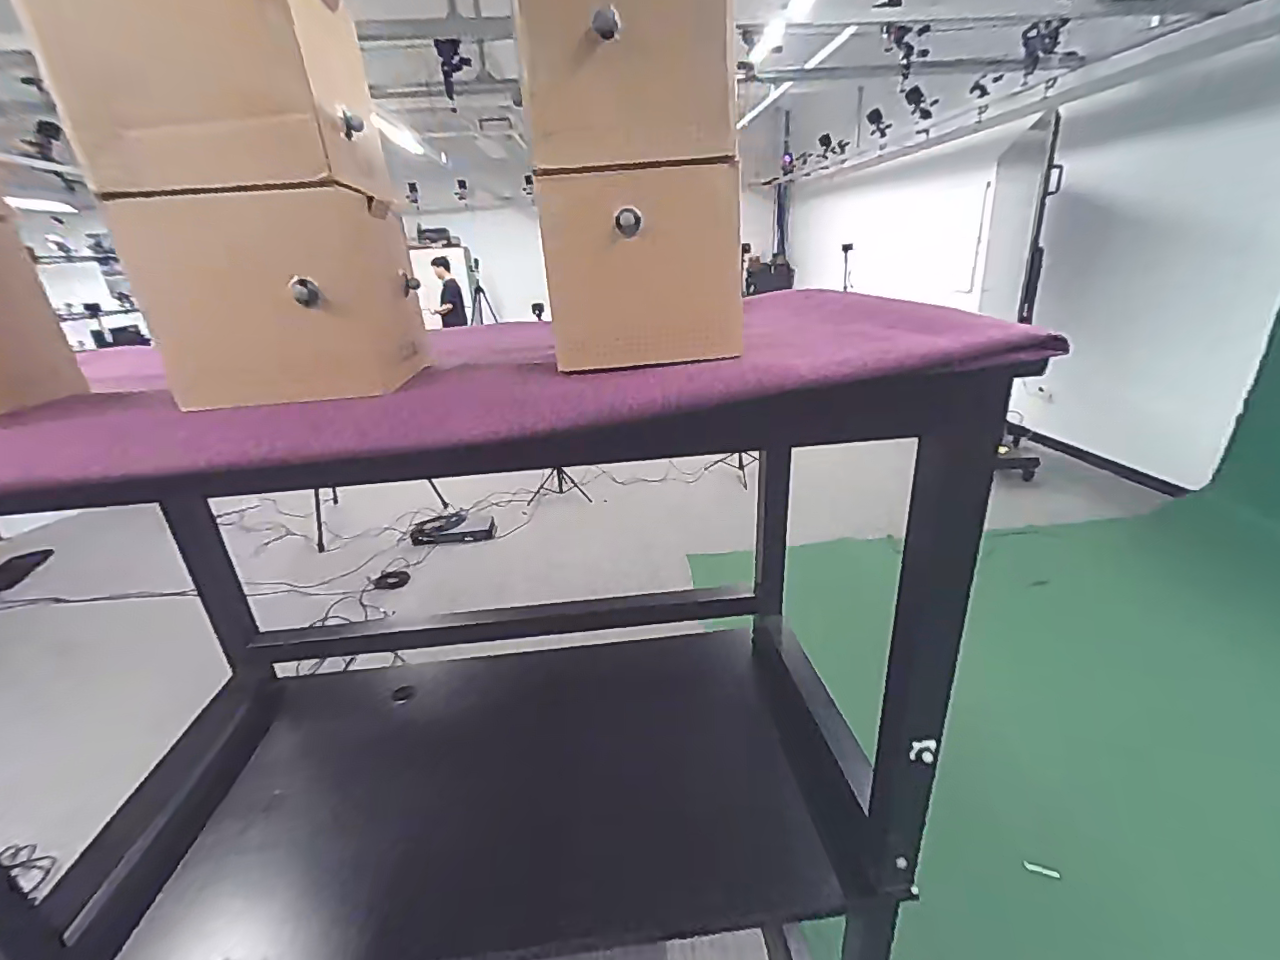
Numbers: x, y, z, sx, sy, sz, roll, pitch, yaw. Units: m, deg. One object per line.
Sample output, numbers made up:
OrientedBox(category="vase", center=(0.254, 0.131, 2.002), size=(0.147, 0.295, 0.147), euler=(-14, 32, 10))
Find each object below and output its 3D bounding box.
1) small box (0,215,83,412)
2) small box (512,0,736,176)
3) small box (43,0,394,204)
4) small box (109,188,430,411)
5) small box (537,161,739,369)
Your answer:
OrientedBox(category="small box", center=(-0.654, -0.133, 0.462), size=(0.168, 0.176, 0.179), euler=(-5, 23, -6))
OrientedBox(category="small box", center=(-0.014, -0.366, 0.504), size=(0.179, 0.176, 0.168), euler=(-6, 20, -1))
OrientedBox(category="small box", center=(-0.333, -0.322, 0.455), size=(0.179, 0.176, 0.168), euler=(-6, 22, -6))
OrientedBox(category="small box", center=(-0.317, -0.171, 0.515), size=(0.179, 0.176, 0.168), euler=(-6, 22, -4))
OrientedBox(category="small box", center=(0.000, -0.212, 0.560), size=(0.179, 0.176, 0.168), euler=(-5, 20, -2))
